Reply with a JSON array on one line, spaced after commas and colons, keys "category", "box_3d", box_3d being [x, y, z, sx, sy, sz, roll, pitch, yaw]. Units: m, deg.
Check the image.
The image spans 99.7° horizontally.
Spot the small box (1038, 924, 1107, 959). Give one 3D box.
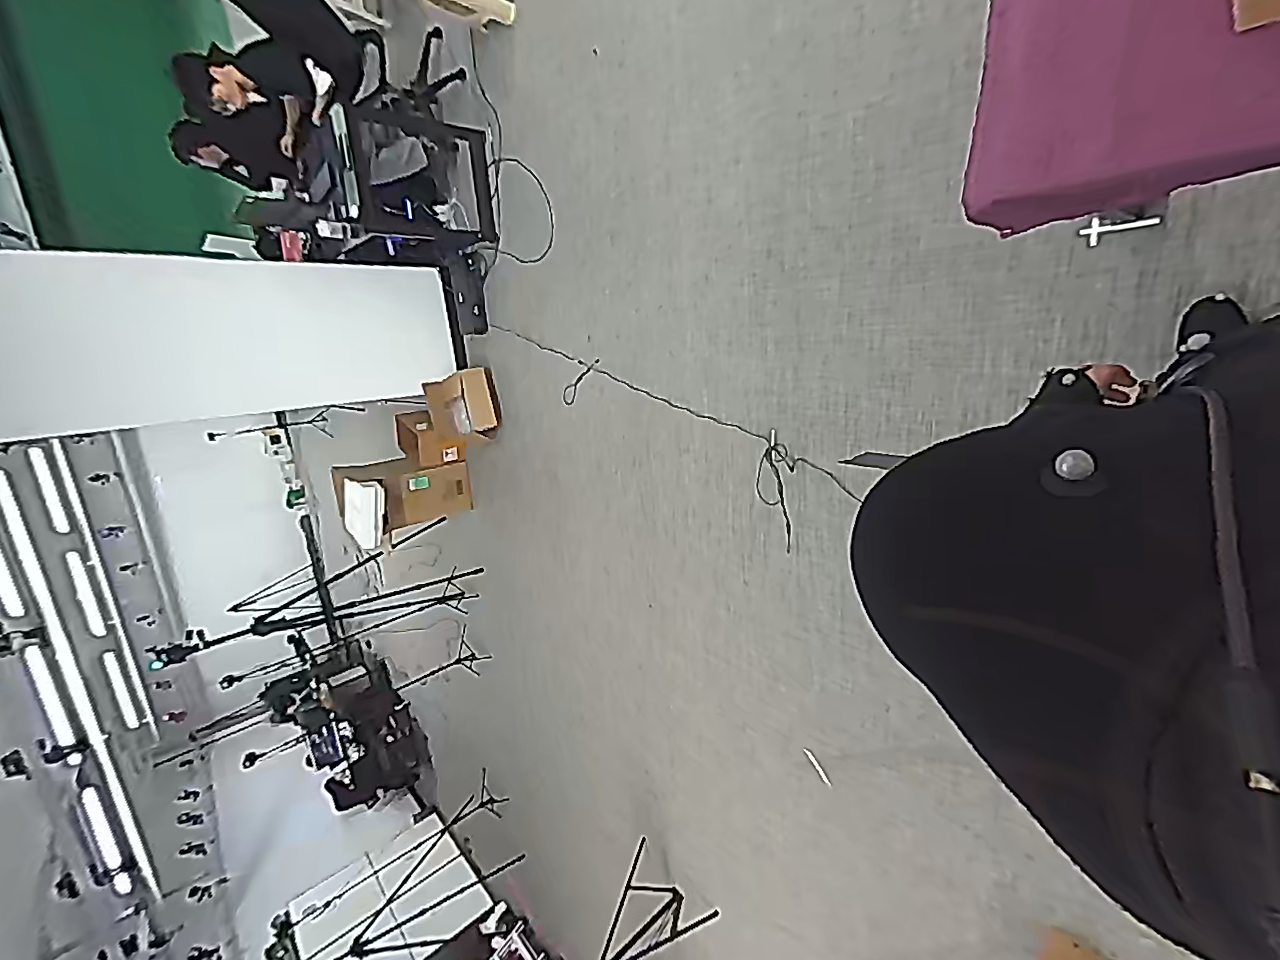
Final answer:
[{"category": "small box", "box_3d": [1.249, 1.451, 1.560, 0.168, 0.176, 0.179, 17, 117, 46]}]
